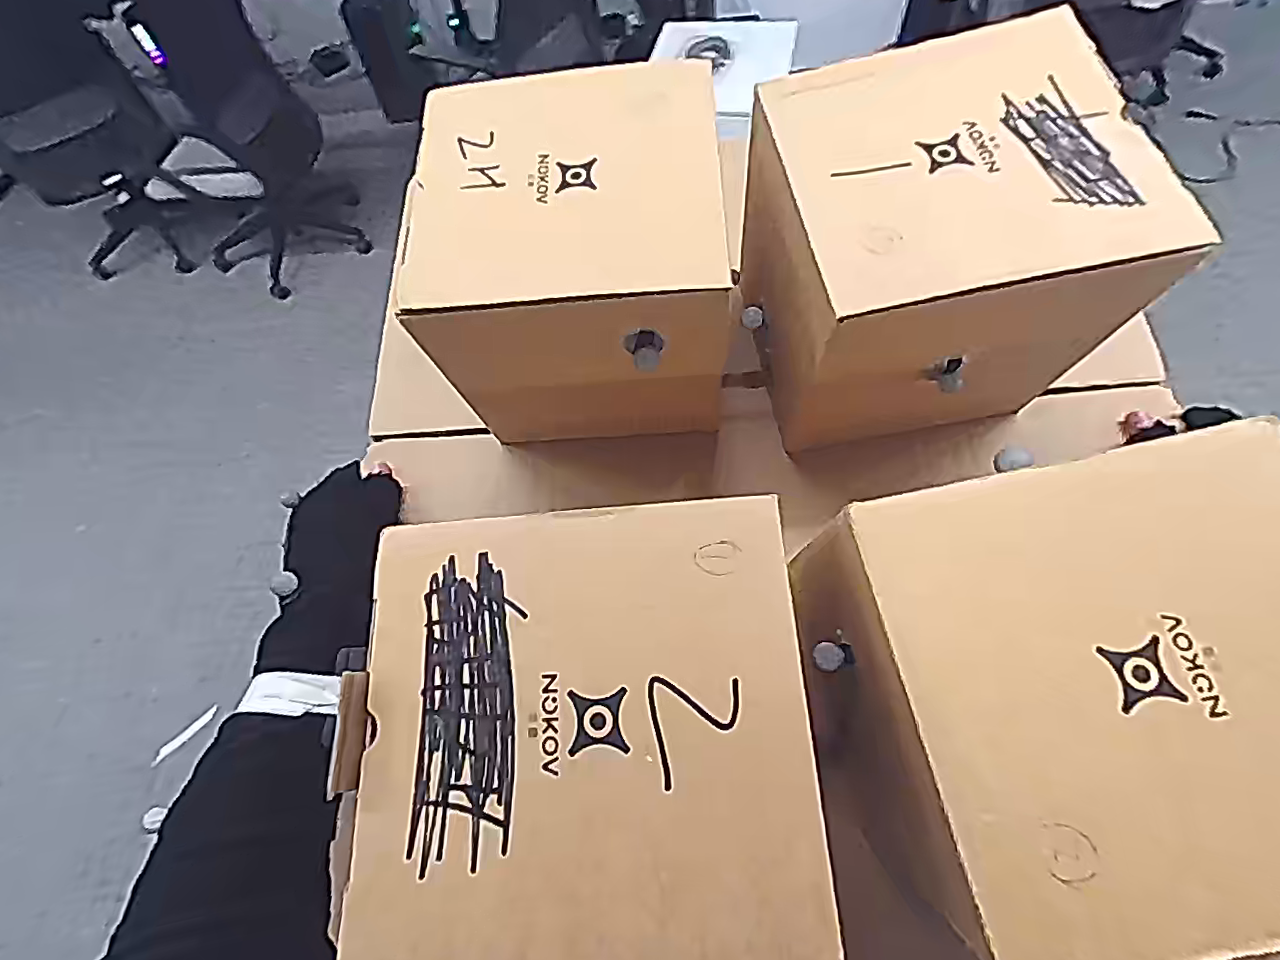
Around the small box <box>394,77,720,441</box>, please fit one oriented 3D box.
[{"bbox_3d":[-0.039,-0.136,0.382,0.179,0.176,0.168,-3,70,6],"label":"small box"}]
